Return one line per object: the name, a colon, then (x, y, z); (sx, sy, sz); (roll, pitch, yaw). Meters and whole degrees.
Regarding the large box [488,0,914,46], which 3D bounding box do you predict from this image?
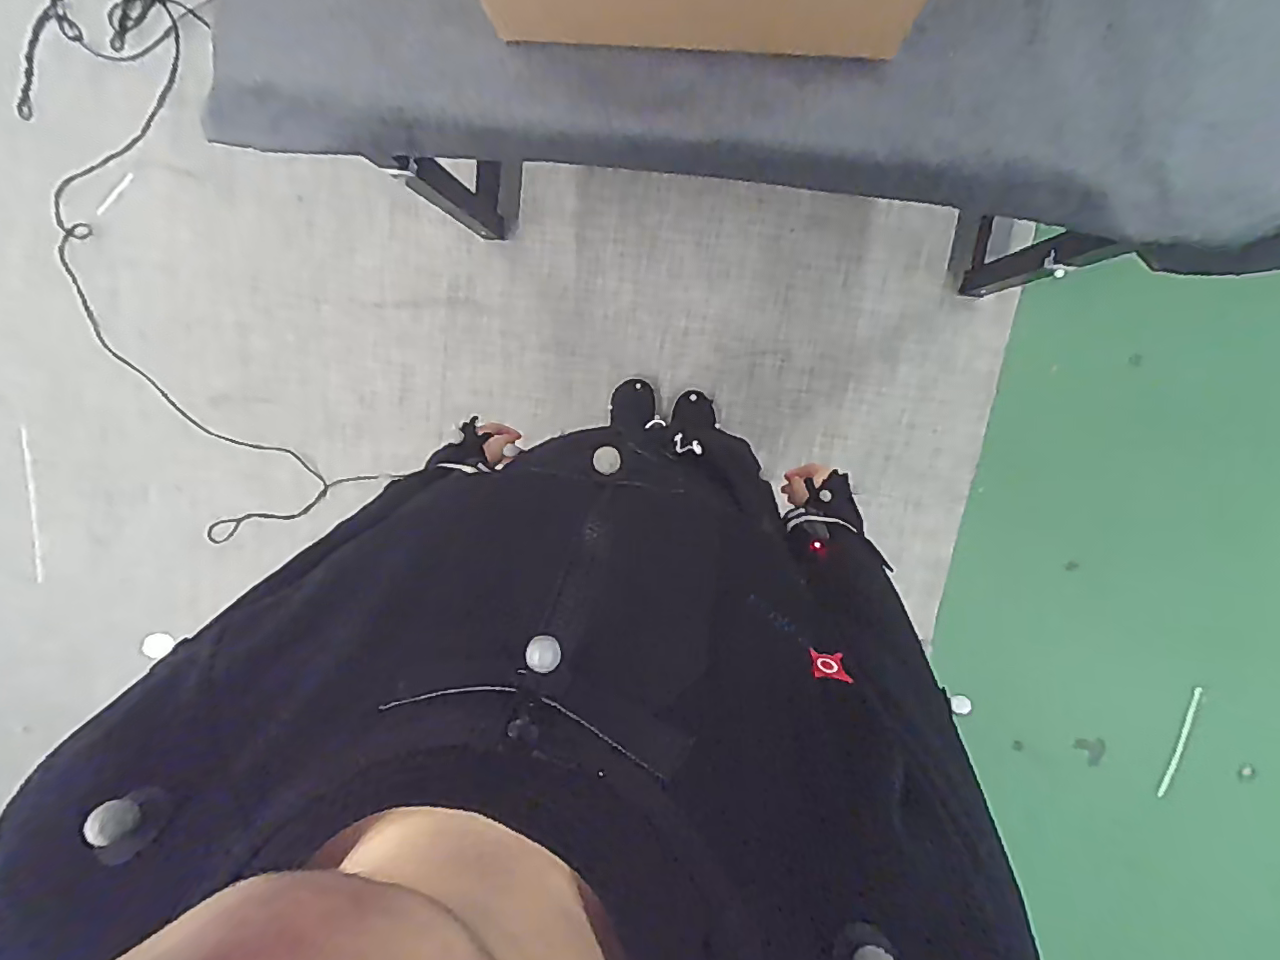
large box: (0.053, -0.571, 0.382); (0.408, 0.320, 0.320); (5, 101, 3)
